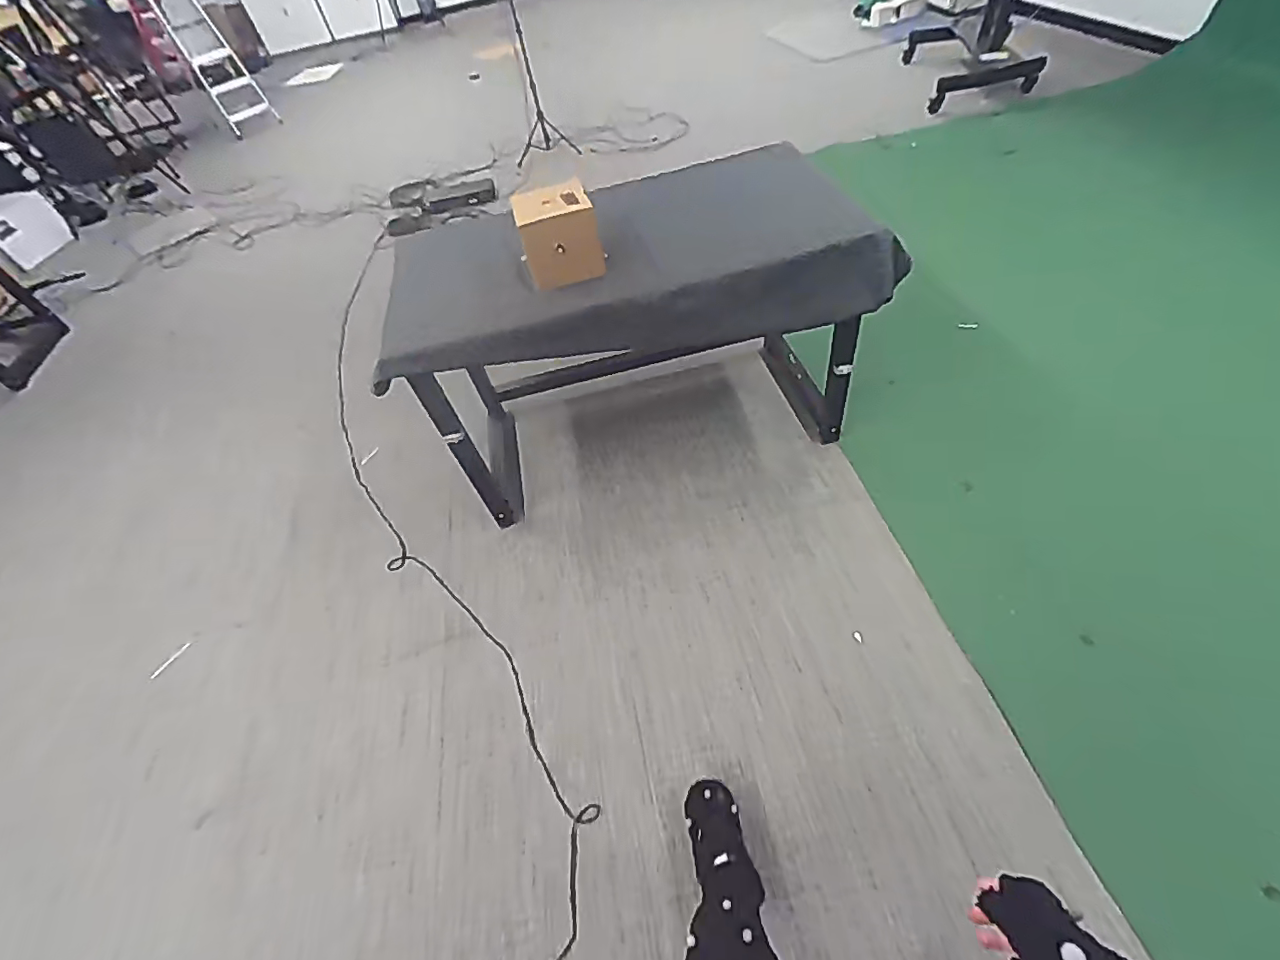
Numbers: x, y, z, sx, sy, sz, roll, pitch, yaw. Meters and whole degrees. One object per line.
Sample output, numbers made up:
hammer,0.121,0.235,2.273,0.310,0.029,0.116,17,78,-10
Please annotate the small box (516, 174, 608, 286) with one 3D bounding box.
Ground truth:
small box,-0.181,-0.595,1.291,0.179,0.176,0.168,-18,51,-5
